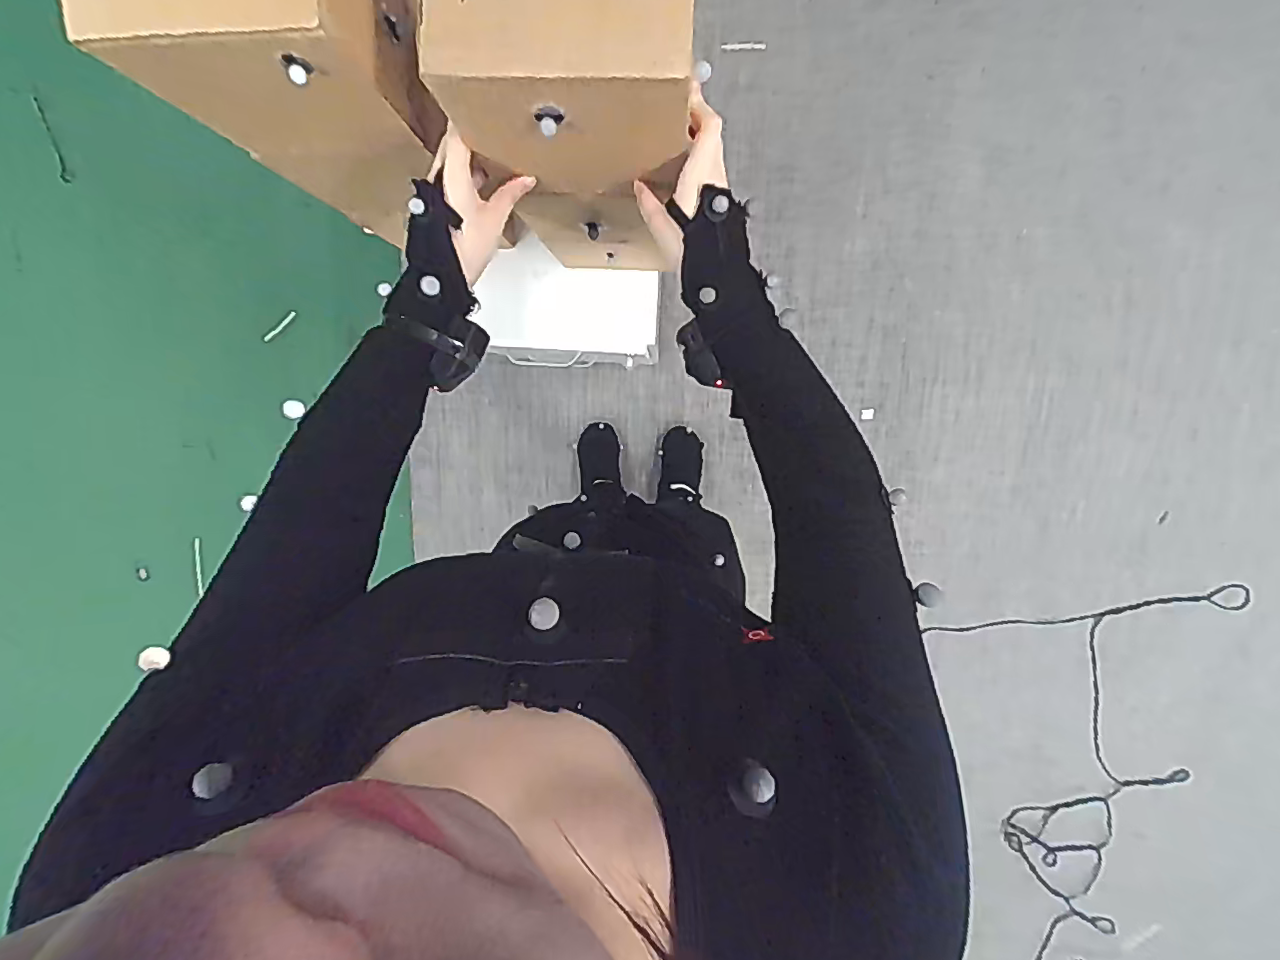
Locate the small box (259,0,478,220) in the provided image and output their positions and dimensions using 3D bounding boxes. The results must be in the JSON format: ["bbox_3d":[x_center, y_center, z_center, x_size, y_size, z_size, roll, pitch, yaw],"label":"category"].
[{"bbox_3d":[-0.287,-0.401,0.595,0.179,0.176,0.168,-3,98,2],"label":"small box"}]

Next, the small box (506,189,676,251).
[{"bbox_3d":[-0.042,-0.361,0.590,0.168,0.176,0.179,3,99,2],"label":"small box"}]

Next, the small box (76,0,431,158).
[{"bbox_3d":[-0.291,-0.382,0.433,0.179,0.176,0.168,-2,98,0],"label":"small box"}]

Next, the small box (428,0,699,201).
[{"bbox_3d":[-0.044,-0.337,0.423,0.179,0.176,0.168,3,96,2],"label":"small box"}]
